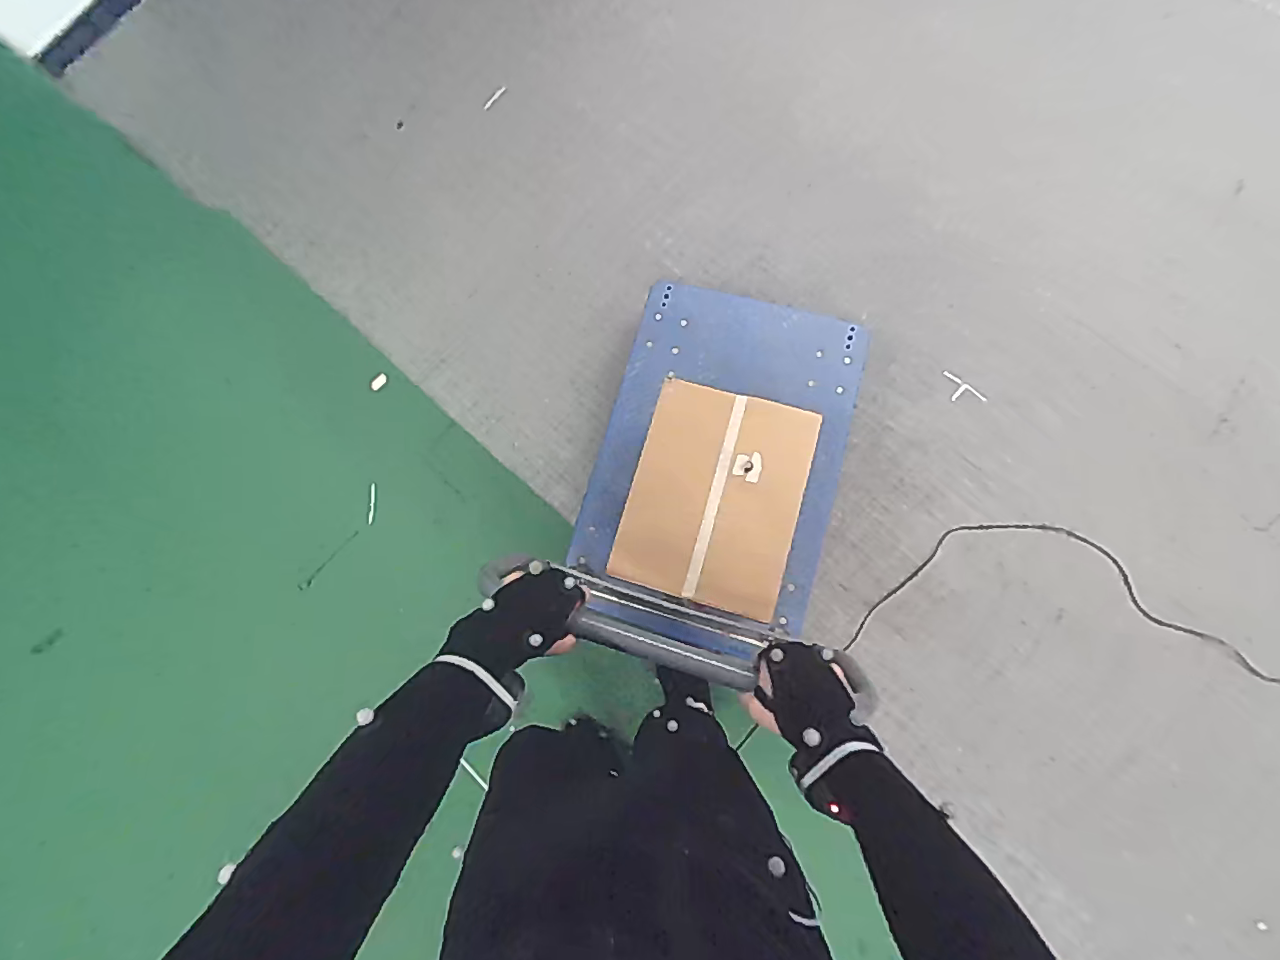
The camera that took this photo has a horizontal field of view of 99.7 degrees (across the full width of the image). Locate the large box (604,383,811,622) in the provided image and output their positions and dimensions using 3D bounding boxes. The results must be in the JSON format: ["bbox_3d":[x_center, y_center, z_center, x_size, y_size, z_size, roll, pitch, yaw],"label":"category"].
[{"bbox_3d":[0.143,0.062,1.164,0.320,0.320,0.408,16,80,8],"label":"large box"}]
